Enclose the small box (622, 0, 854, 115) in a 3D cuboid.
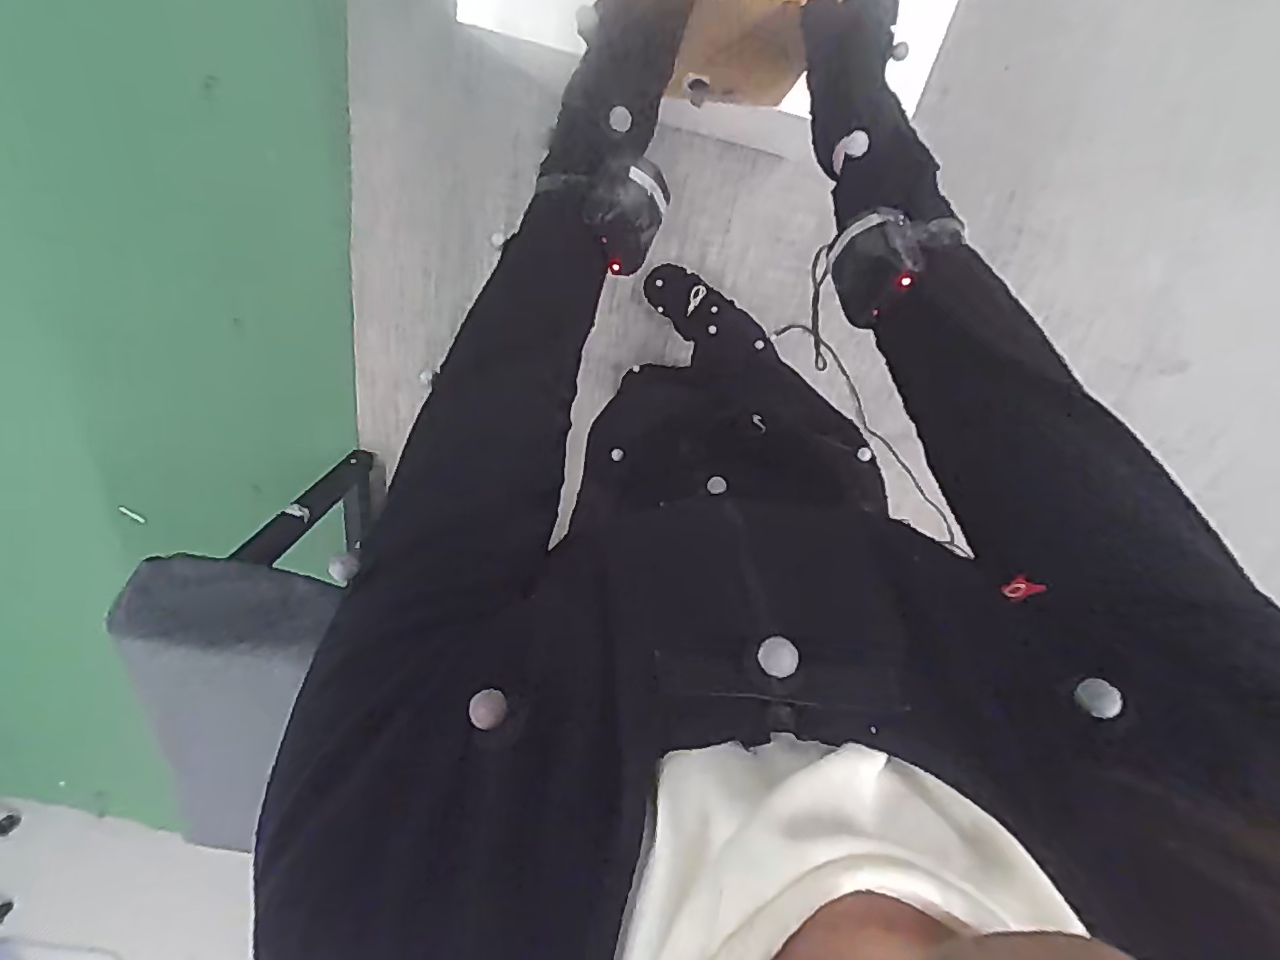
[{"bbox_3d":[0.071,-0.446,0.452,0.168,0.176,0.179,0,101,-4],"label":"small box"}]
